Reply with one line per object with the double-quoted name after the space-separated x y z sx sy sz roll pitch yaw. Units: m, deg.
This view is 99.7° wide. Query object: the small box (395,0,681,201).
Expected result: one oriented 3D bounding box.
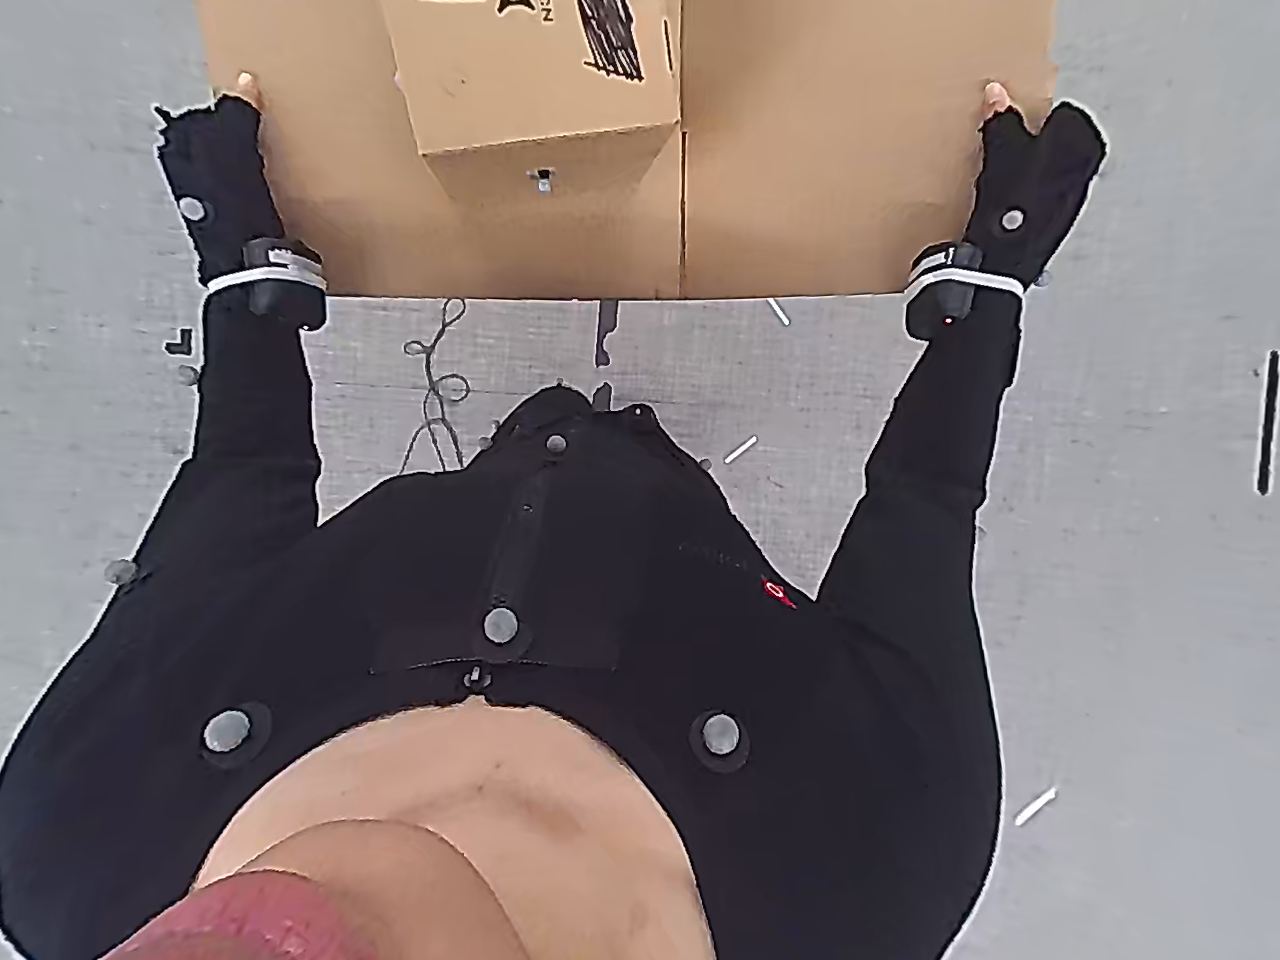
-0.081 -0.332 0.419 0.179 0.176 0.168 -12 106 -7 "small box"
